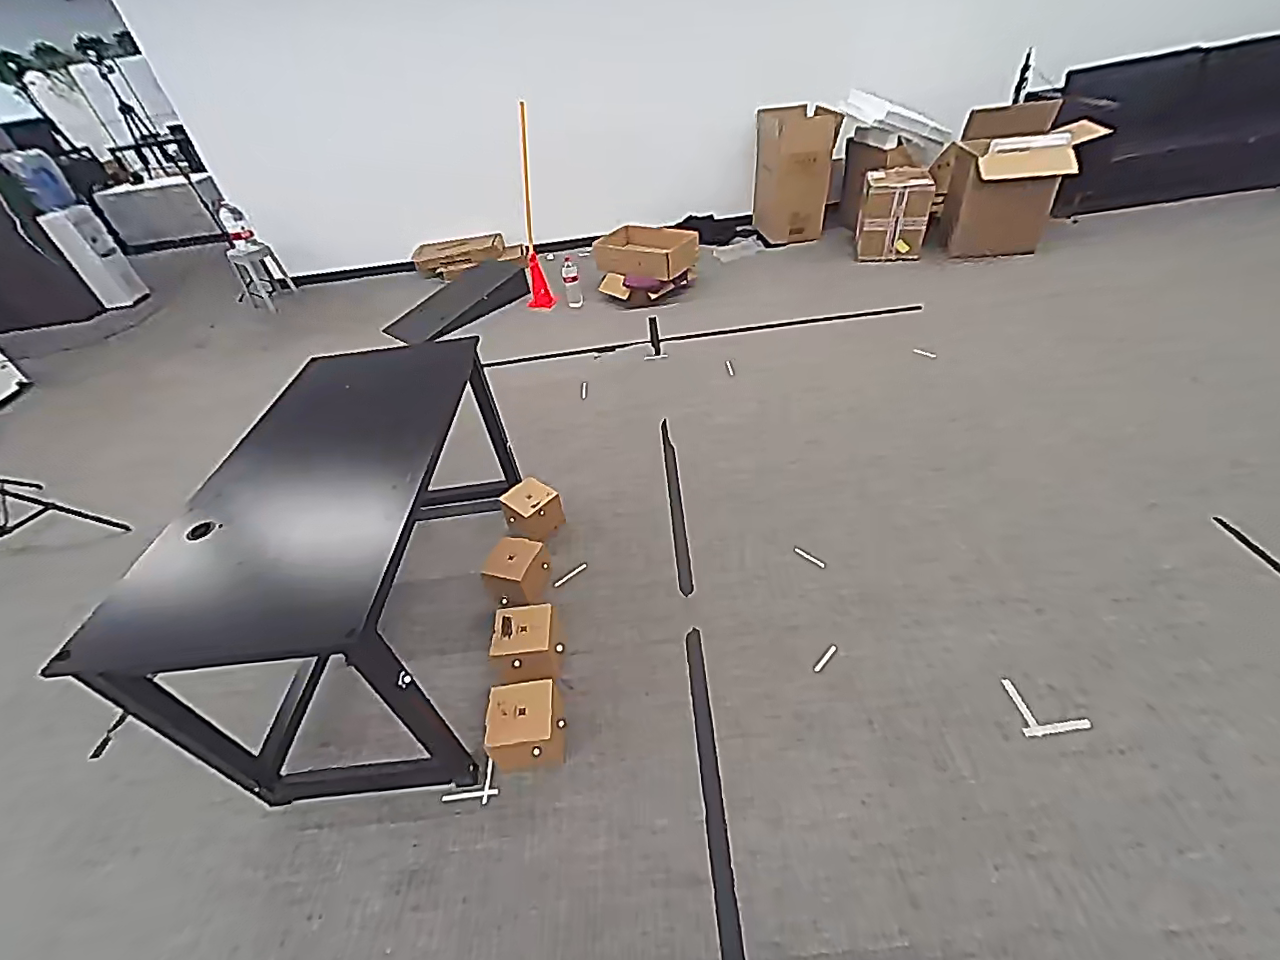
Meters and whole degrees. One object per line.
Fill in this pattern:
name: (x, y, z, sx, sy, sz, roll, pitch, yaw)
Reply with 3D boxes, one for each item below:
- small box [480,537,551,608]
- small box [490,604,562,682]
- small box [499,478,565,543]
small box: (-0.431, 0.330, 1.912, 0.168, 0.176, 0.179, 7, 44, 18)
small box: (-0.350, 0.513, 1.687, 0.179, 0.176, 0.168, -6, 41, 0)
small box: (-0.424, 0.127, 2.137, 0.179, 0.176, 0.168, 26, 52, 33)
